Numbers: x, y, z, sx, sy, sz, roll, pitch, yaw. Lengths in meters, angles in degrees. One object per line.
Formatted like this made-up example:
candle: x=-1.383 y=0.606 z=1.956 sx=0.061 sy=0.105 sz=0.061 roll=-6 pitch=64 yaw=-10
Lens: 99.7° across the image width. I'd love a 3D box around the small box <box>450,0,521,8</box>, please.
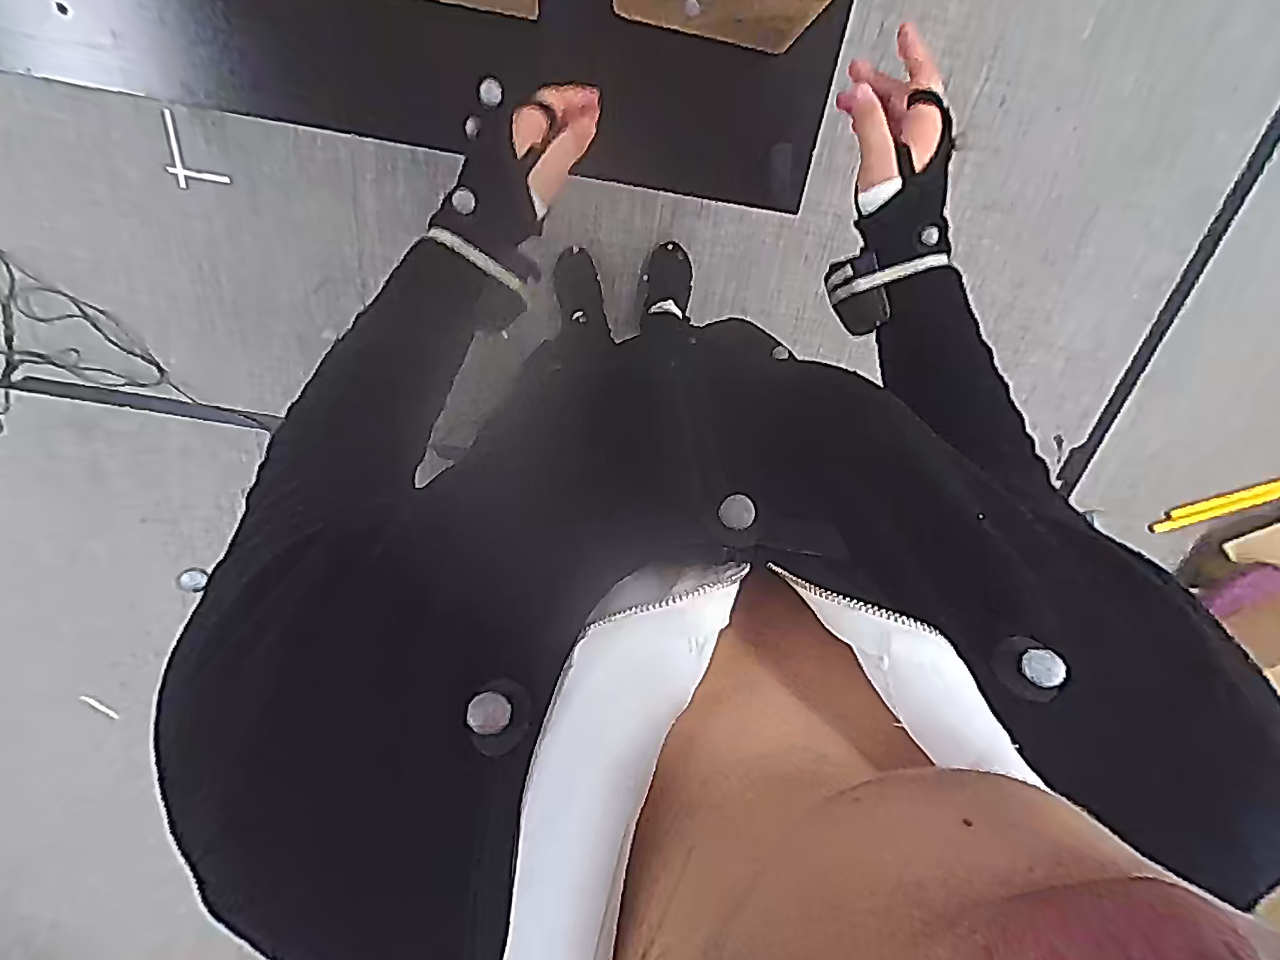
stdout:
small box: x=-0.175 y=-0.509 z=0.425 sx=0.179 sy=0.176 sz=0.168 roll=7 pitch=116 yaw=-4
